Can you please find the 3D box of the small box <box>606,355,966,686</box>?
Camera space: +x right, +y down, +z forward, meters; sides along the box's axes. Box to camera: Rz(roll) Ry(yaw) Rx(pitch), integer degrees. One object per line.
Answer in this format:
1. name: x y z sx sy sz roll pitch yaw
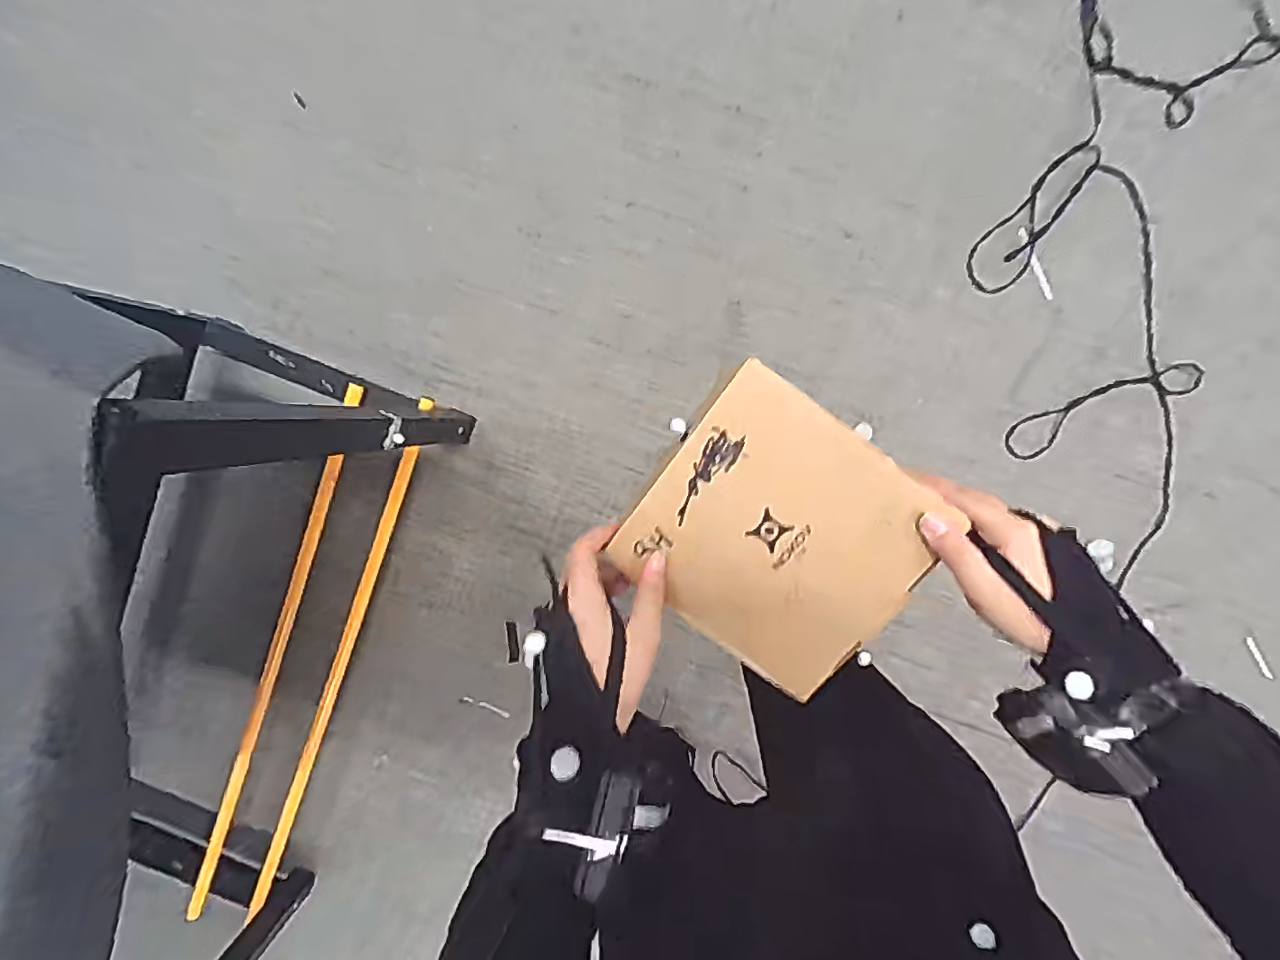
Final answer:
1. small box: 0.101 0.015 0.433 0.179 0.176 0.168 37 103 -2
